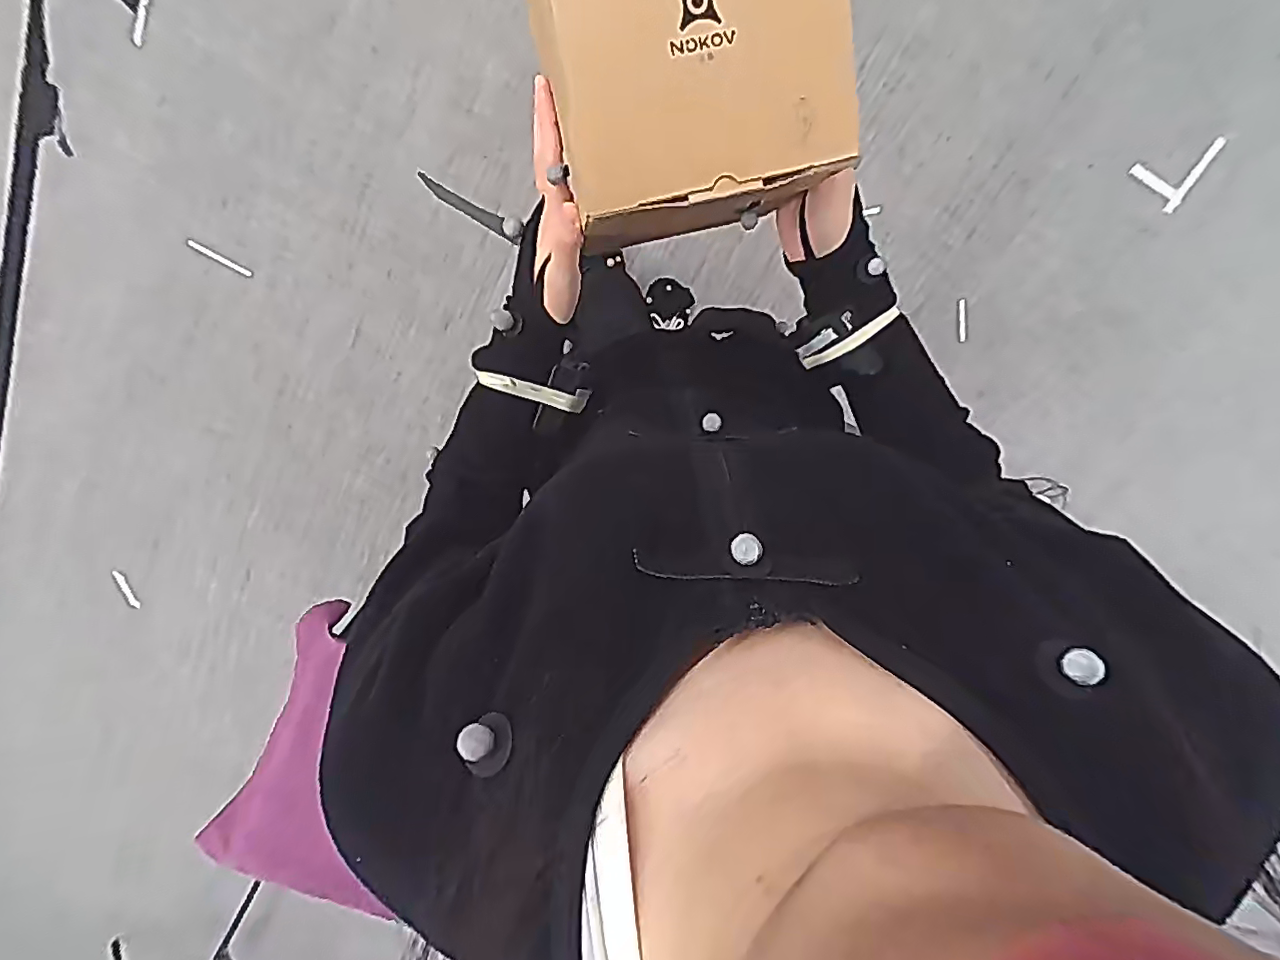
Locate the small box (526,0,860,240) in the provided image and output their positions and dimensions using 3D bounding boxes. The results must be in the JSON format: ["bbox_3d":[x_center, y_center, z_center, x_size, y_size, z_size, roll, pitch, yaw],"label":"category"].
[{"bbox_3d":[0.021,-0.270,0.357,0.168,0.176,0.179,-14,106,-3],"label":"small box"}]
